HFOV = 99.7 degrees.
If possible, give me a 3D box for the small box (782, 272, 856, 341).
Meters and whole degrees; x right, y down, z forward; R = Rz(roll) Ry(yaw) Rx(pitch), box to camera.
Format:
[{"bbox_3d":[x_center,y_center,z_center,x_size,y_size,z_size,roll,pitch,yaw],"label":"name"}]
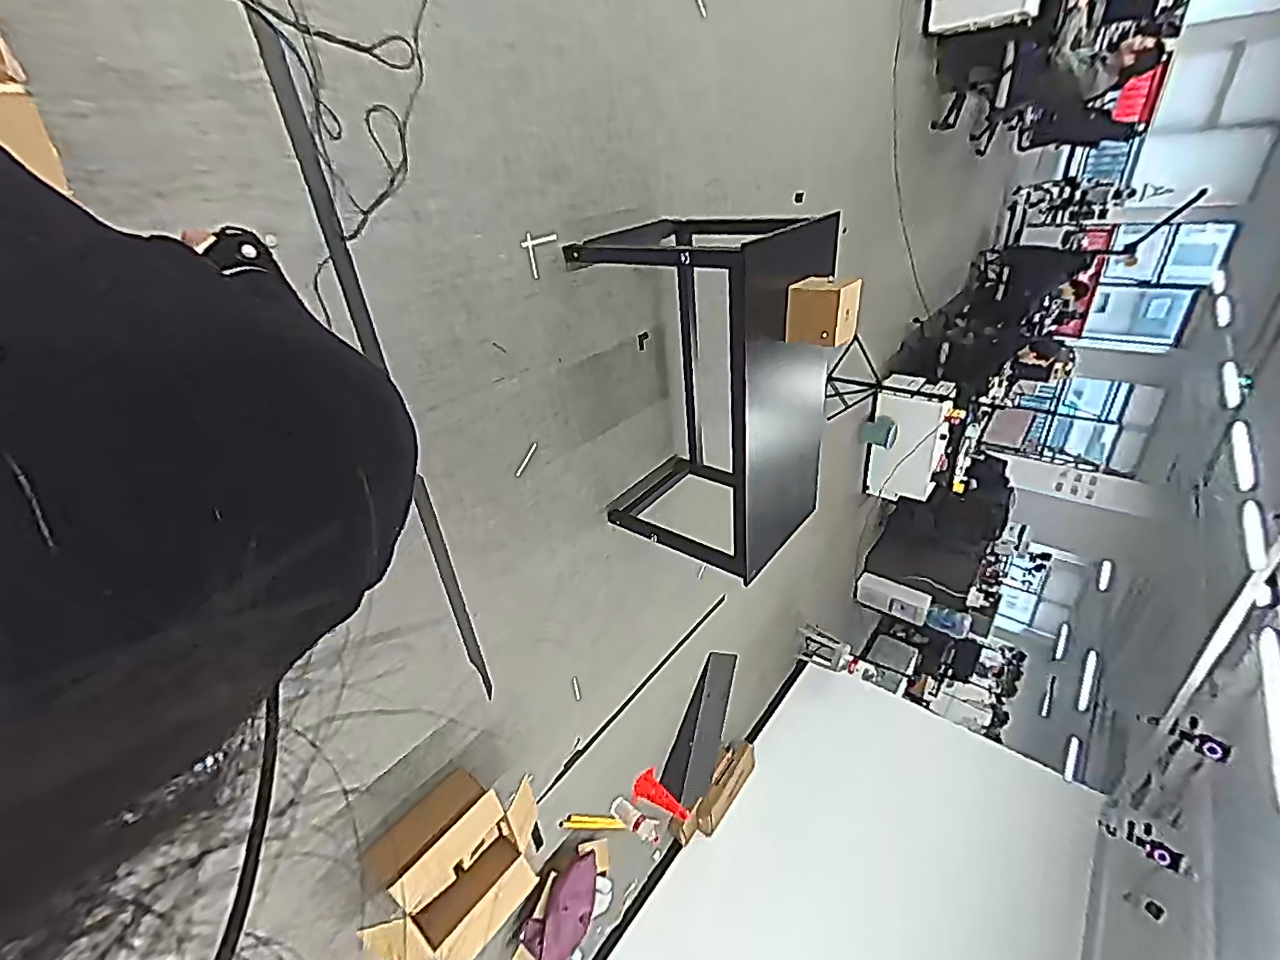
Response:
[{"bbox_3d":[0.562,-0.554,1.711,0.168,0.176,0.179,-34,131,-39],"label":"small box"}]
